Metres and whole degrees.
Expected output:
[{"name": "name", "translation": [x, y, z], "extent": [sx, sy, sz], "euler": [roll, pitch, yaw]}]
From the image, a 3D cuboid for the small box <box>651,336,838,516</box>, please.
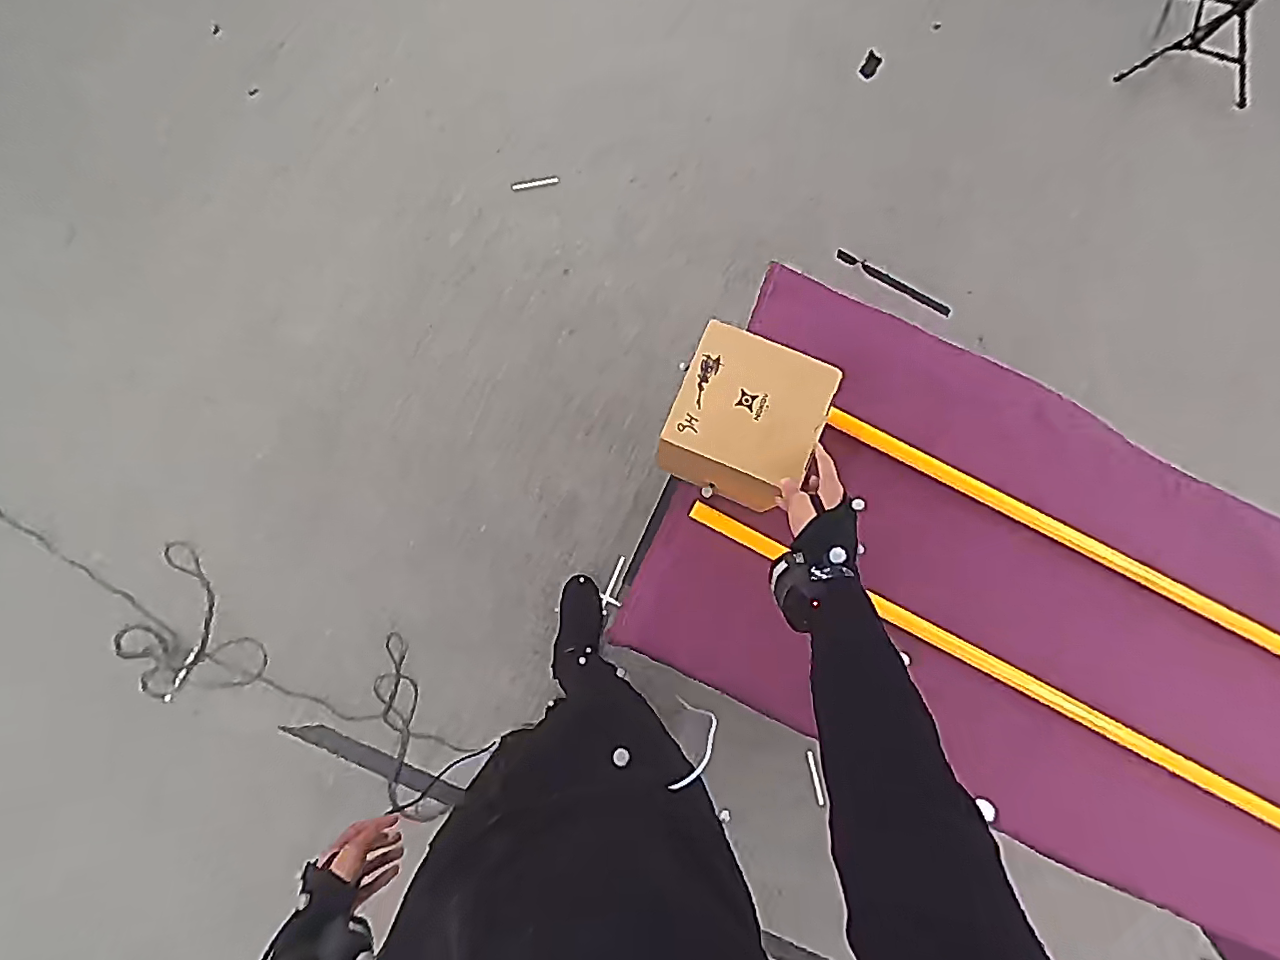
[{"name": "small box", "translation": [0.127, -0.058, 0.723], "extent": [0.179, 0.176, 0.168], "euler": [23, 80, 1]}]
